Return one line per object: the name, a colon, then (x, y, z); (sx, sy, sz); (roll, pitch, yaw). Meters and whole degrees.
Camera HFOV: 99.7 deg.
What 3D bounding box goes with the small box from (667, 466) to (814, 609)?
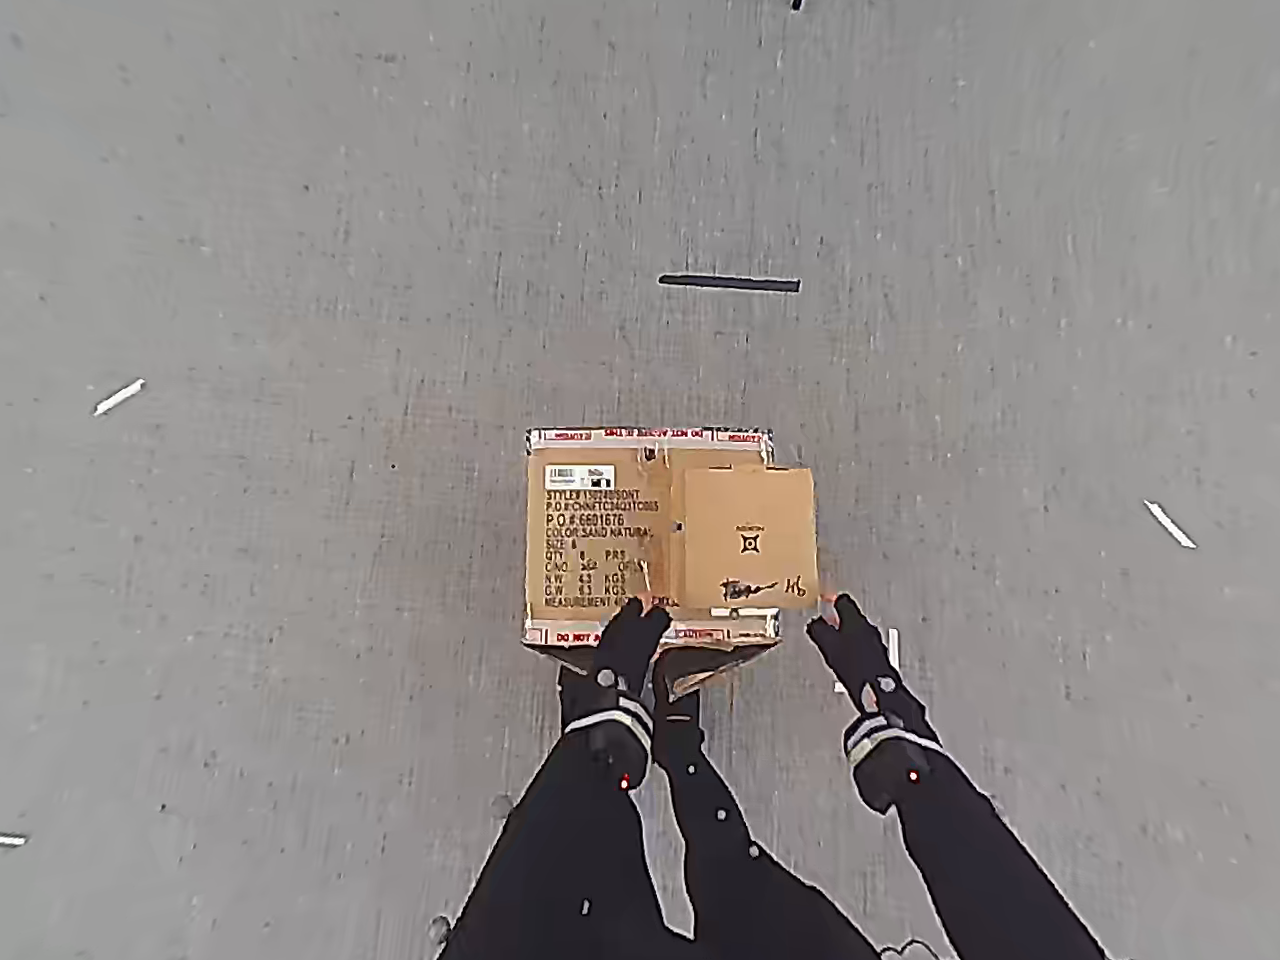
small box: (0.127, 0.083, 0.745); (0.168, 0.176, 0.179); (1, 81, -3)
